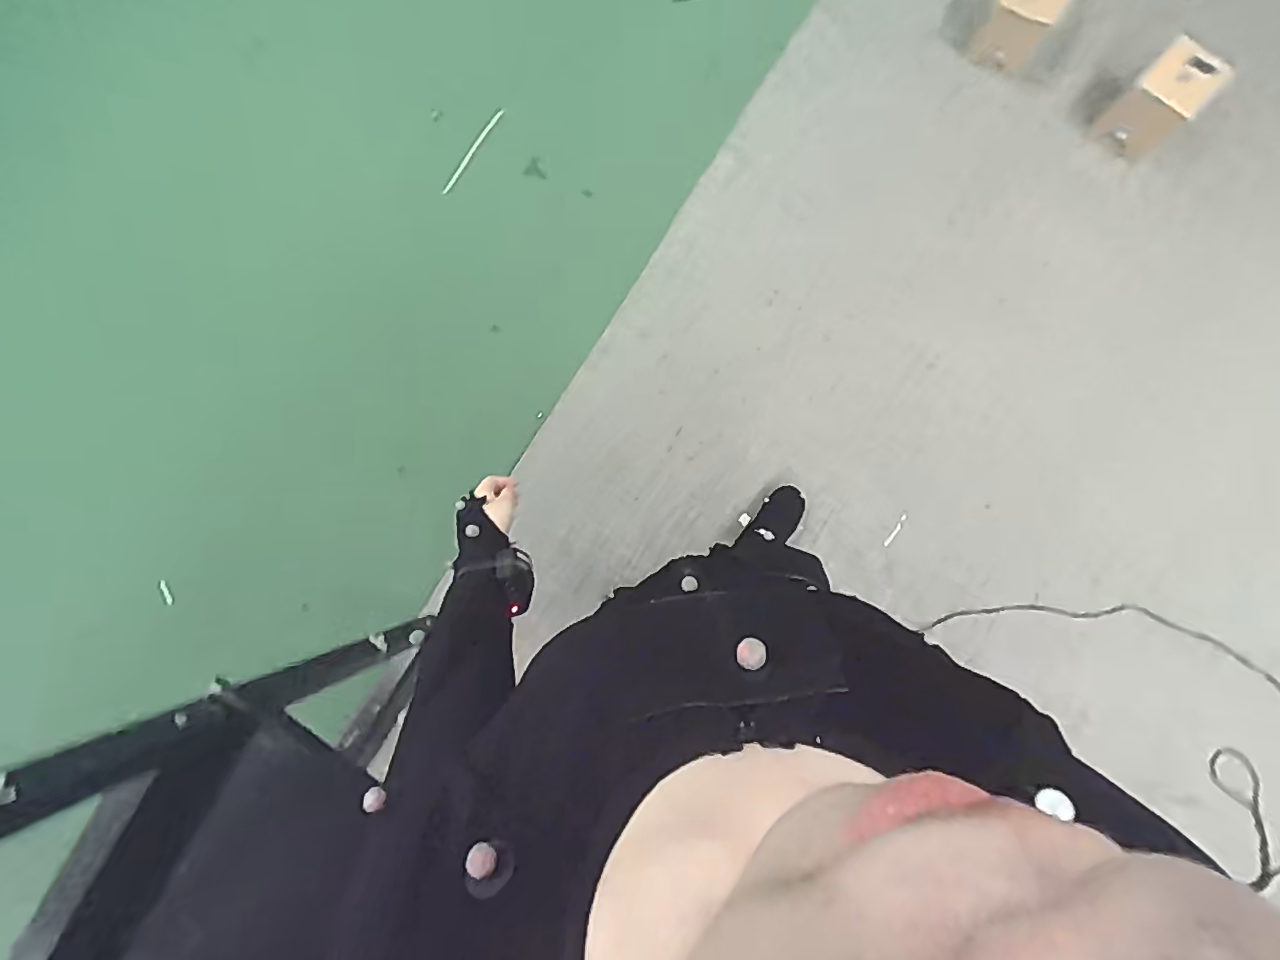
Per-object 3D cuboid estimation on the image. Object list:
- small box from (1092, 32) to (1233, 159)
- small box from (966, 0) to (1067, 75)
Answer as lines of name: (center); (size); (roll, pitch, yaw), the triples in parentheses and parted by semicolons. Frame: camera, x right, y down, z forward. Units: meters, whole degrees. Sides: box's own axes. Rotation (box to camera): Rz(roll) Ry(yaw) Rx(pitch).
small box: (1.373, -1.012, 1.436); (0.168, 0.176, 0.179); (42, 89, 7)
small box: (1.040, -1.276, 1.483); (0.168, 0.176, 0.179); (28, 87, 6)
